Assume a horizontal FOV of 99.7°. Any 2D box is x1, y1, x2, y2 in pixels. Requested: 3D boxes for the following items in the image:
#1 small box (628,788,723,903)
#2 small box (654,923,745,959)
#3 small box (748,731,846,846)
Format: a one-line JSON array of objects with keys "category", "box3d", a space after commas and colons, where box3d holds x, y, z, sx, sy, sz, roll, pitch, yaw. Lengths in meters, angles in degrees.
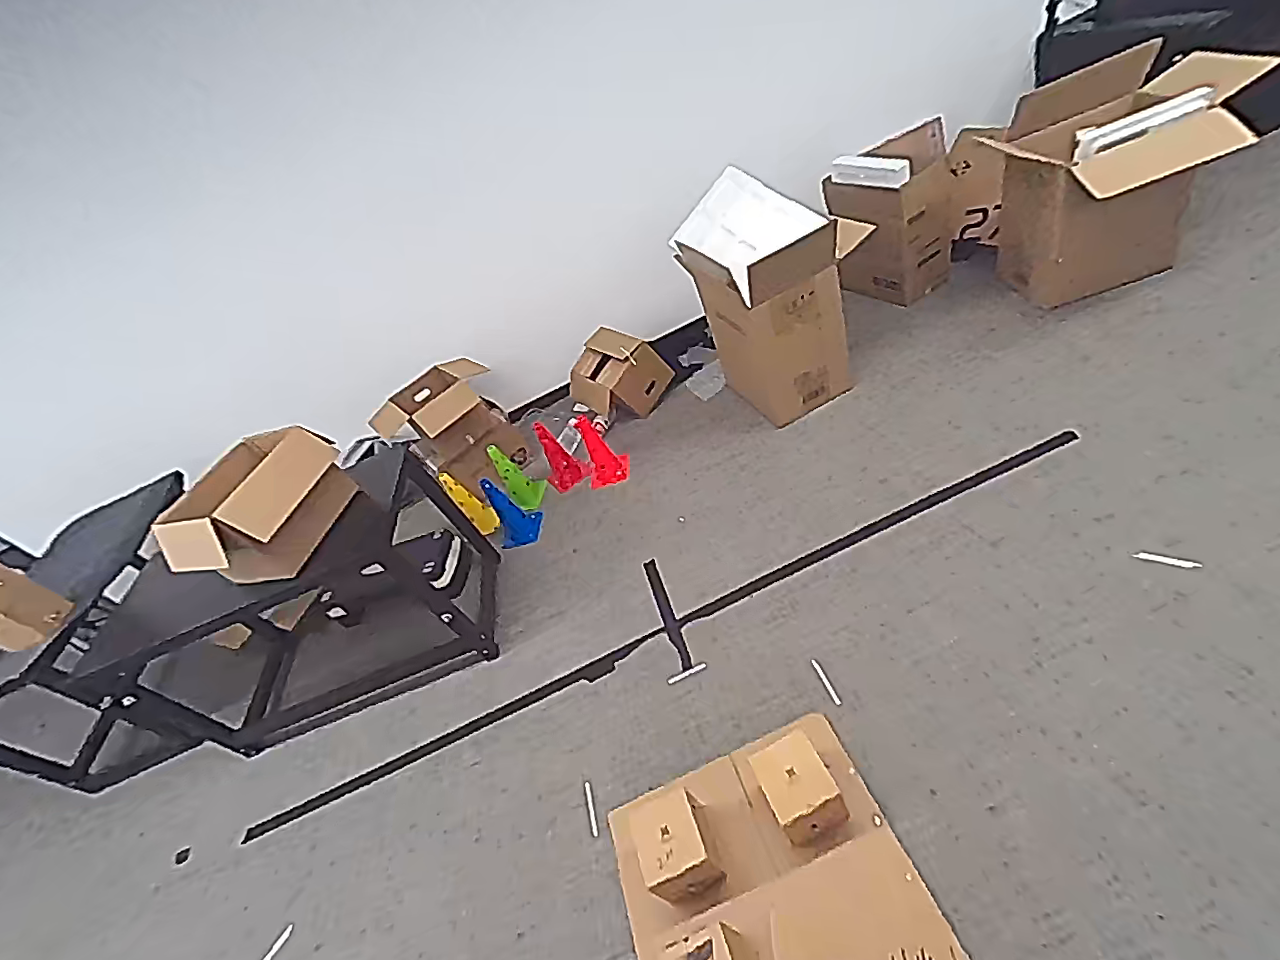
[{"category": "small box", "box3d": [0.091, 0.938, 1.386, 0.168, 0.176, 0.179, -27, 39, 1]}, {"category": "small box", "box3d": [0.153, 1.108, 1.166, 0.168, 0.176, 0.179, -28, 40, 0]}, {"category": "small box", "box3d": [0.401, 0.790, 1.383, 0.168, 0.176, 0.179, -29, 39, -2]}]
